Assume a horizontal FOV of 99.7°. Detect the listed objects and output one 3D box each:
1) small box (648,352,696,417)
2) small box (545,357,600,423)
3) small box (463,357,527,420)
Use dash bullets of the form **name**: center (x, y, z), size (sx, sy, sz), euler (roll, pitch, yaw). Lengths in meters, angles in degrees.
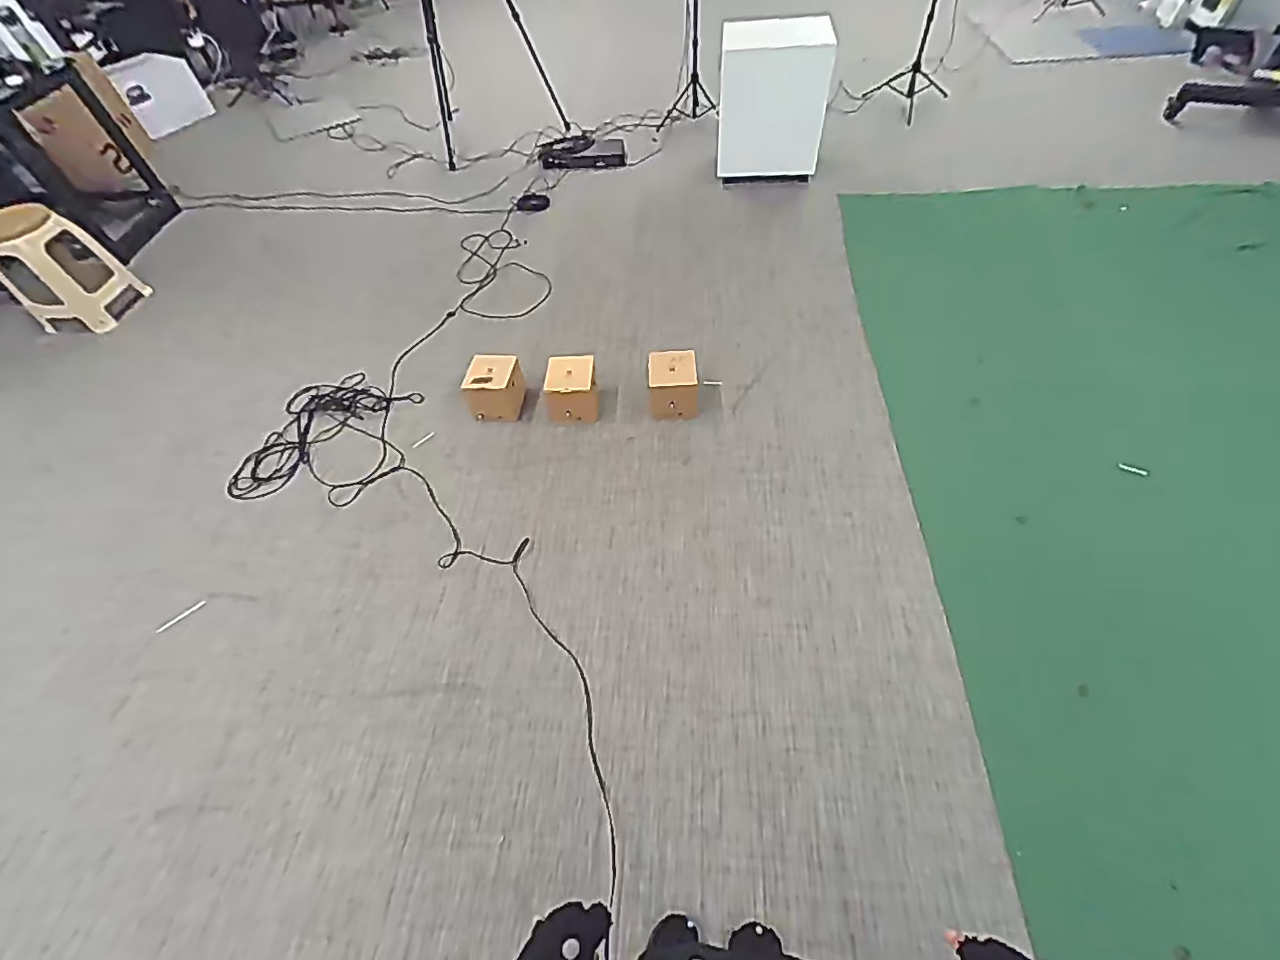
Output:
- **small box**: center (0.117, -0.339, 1.954), size (0.168, 0.176, 0.179), euler (-2, 54, 3)
- **small box**: center (-0.242, -0.327, 1.979), size (0.168, 0.176, 0.179), euler (-1, 55, 4)
- **small box**: center (-0.531, -0.338, 2.011), size (0.168, 0.176, 0.179), euler (3, 53, 7)
